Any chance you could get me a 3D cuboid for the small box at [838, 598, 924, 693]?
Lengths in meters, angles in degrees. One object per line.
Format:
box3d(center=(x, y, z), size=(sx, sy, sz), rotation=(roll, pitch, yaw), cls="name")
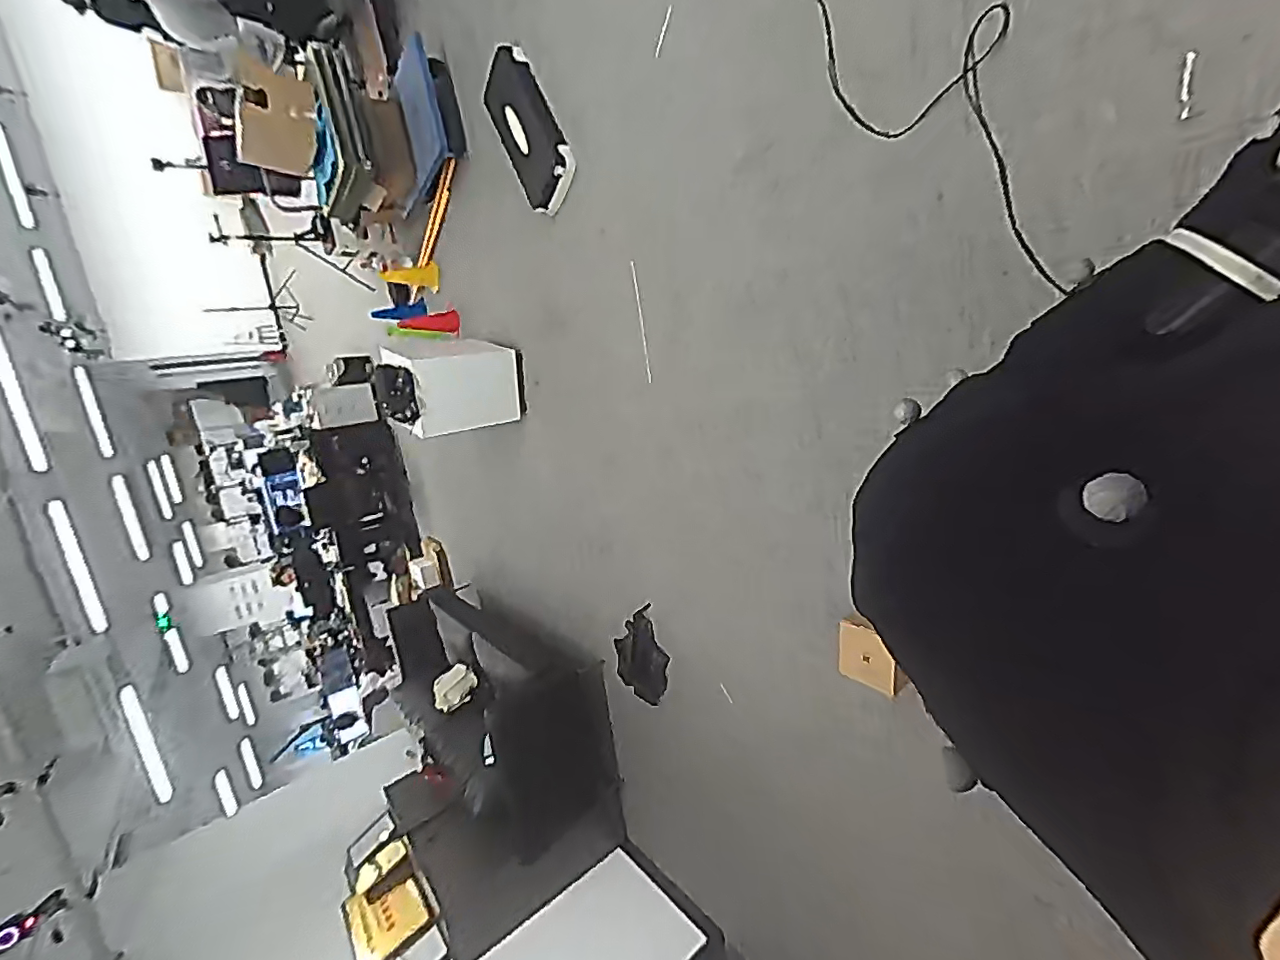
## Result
box3d(center=(0.682, 0.457, 1.527), size=(0.168, 0.176, 0.179), rotation=(15, 116, 51), cls="small box")
